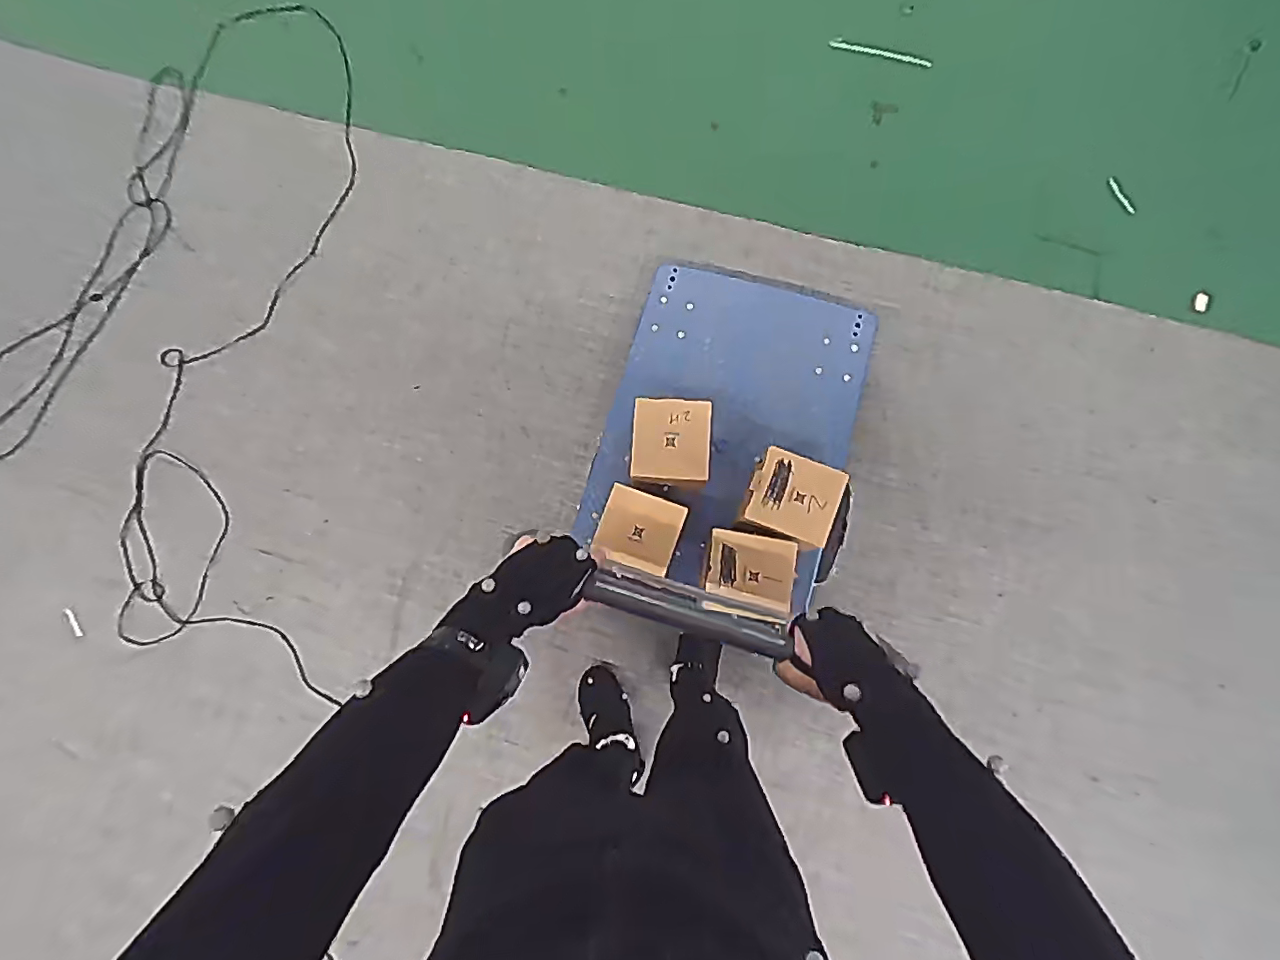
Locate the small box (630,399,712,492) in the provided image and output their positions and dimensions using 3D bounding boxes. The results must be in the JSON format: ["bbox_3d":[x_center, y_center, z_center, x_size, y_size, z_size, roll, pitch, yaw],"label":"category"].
[{"bbox_3d":[0.070,-0.070,1.224,0.168,0.176,0.179,4,80,3],"label":"small box"}]
